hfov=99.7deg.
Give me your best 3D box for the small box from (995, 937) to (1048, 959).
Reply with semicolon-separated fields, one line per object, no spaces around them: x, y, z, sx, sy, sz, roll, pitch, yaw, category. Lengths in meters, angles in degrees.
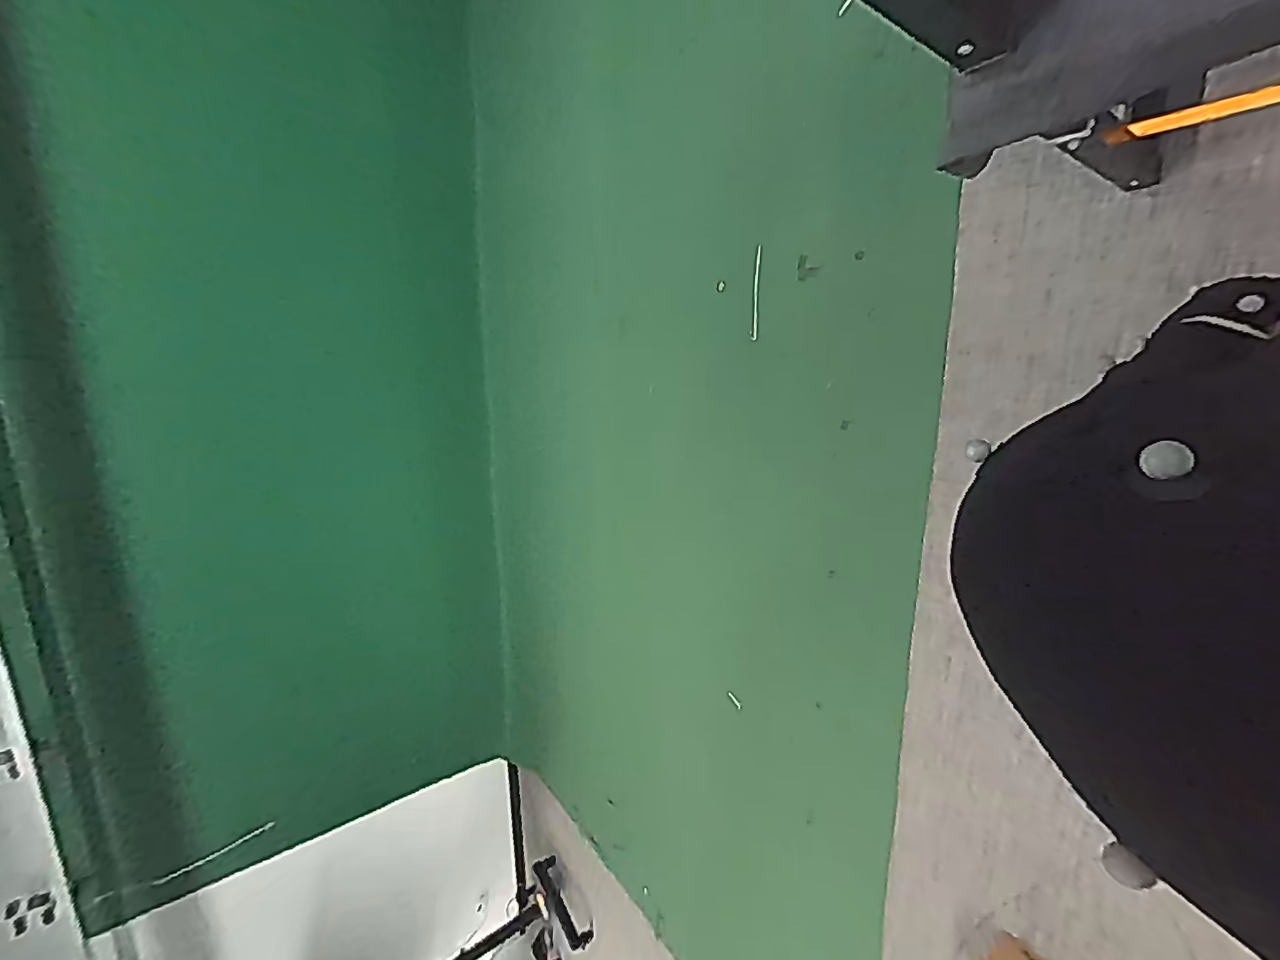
1.006;1.352;1.389;0.168;0.176;0.179;15;108;52;small box
